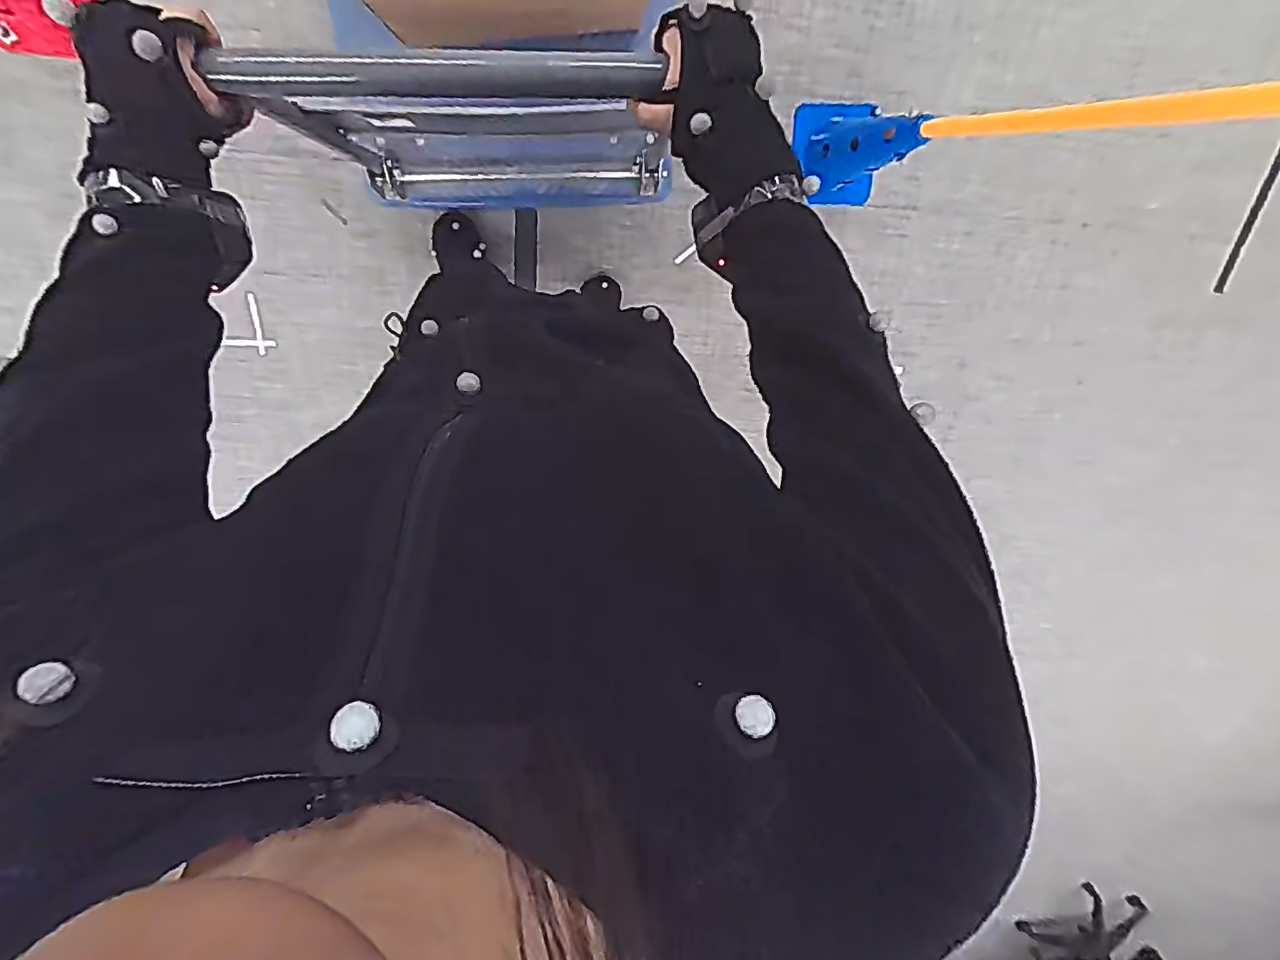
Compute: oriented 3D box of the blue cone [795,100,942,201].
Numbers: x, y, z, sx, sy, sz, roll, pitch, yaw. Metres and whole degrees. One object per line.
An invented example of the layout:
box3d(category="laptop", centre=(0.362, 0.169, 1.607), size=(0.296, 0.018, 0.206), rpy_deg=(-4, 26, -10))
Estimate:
box3d(category="blue cone", centre=(0.462, -0.671, 1.066), size=(0.193, 0.380, 0.192), rpy_deg=(-2, 114, -7))
